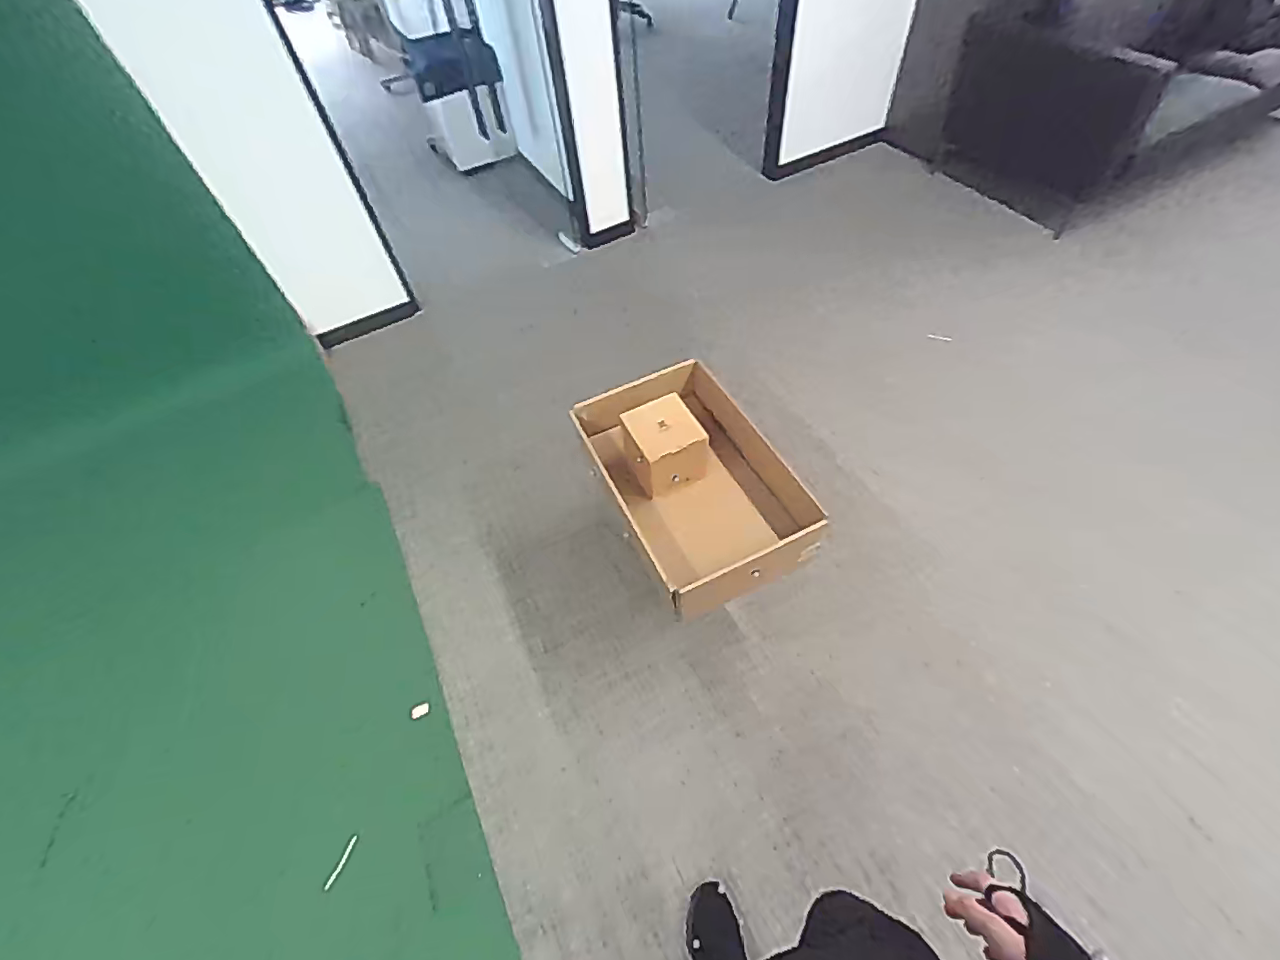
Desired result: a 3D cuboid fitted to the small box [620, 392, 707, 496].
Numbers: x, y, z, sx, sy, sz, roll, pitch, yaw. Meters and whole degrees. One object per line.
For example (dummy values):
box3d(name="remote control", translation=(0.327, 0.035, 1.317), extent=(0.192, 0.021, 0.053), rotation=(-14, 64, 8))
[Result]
box3d(name="small box", translation=(0.060, -0.091, 1.414), extent=(0.168, 0.176, 0.179), rotation=(-25, 57, -12))
